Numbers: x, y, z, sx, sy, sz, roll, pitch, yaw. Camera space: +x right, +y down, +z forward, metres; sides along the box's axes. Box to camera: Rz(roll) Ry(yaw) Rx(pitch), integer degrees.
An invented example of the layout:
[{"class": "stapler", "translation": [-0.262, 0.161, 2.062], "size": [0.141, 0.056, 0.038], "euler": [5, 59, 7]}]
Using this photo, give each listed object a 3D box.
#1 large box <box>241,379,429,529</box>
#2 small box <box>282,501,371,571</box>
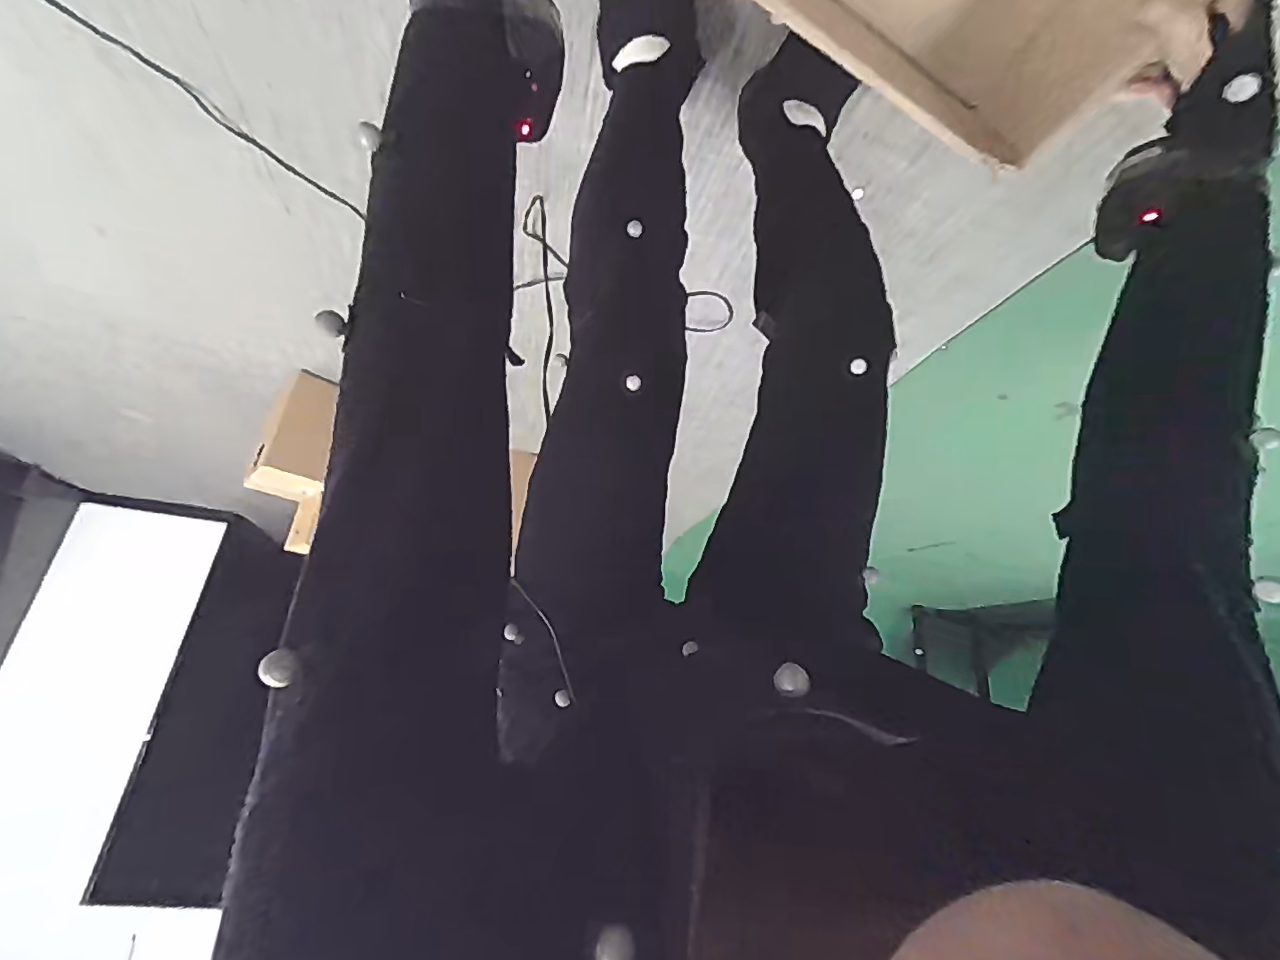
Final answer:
[{"class": "large box", "translation": [-0.962, -0.064, 1.733], "size": [0.408, 0.320, 0.320], "euler": [27, 150, -38]}, {"class": "small box", "translation": [-0.965, 0.177, 1.674], "size": [0.179, 0.176, 0.168], "euler": [-12, 151, 40]}]
